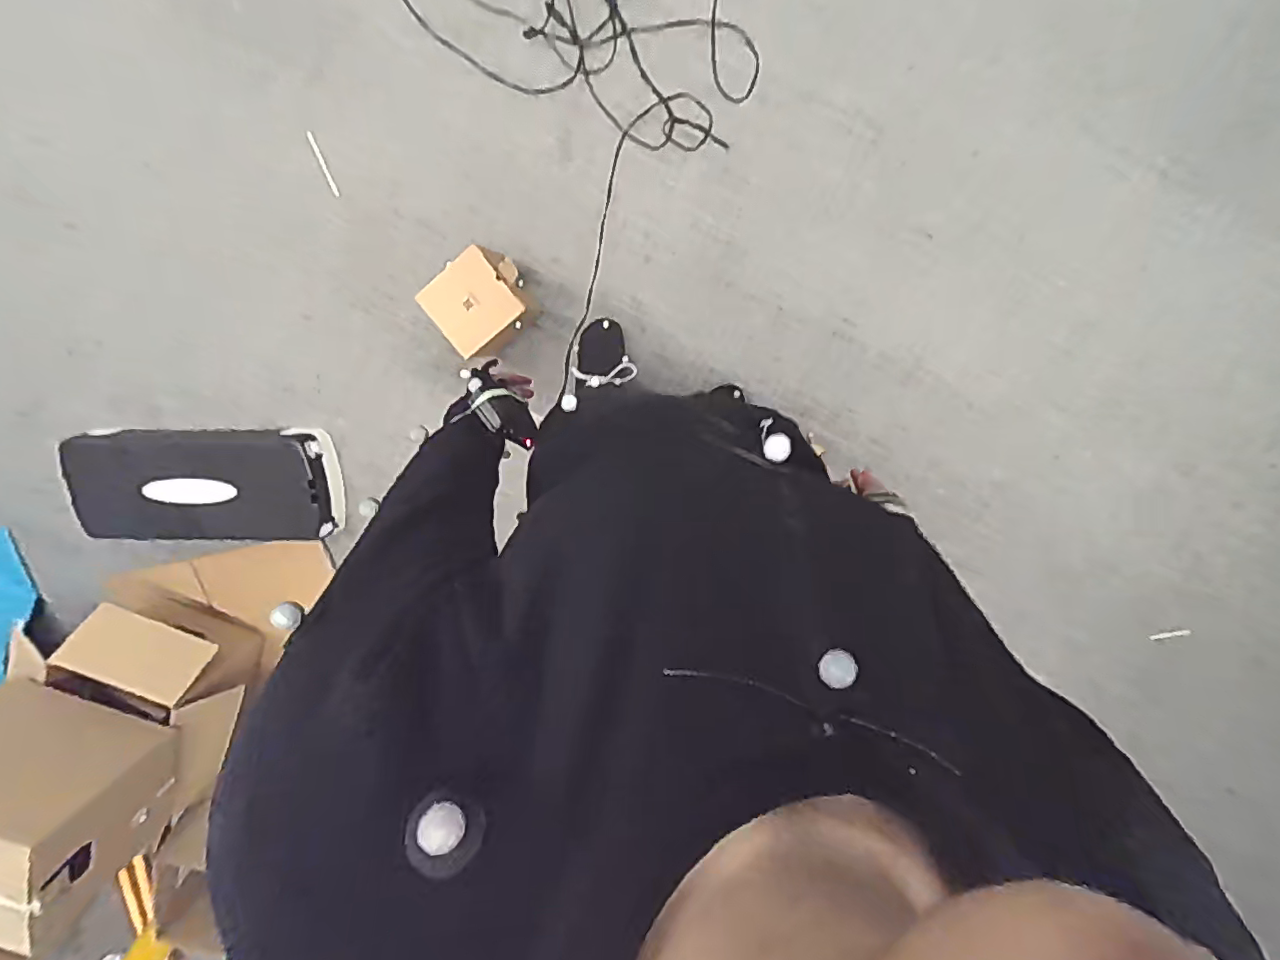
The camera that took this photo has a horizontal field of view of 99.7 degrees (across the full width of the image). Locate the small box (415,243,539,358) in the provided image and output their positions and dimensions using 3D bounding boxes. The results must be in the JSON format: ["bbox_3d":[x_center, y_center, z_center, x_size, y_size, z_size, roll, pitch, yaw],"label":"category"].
[{"bbox_3d":[-0.353,-0.392,1.206,0.179,0.176,0.168,-37,101,11],"label":"small box"}]
